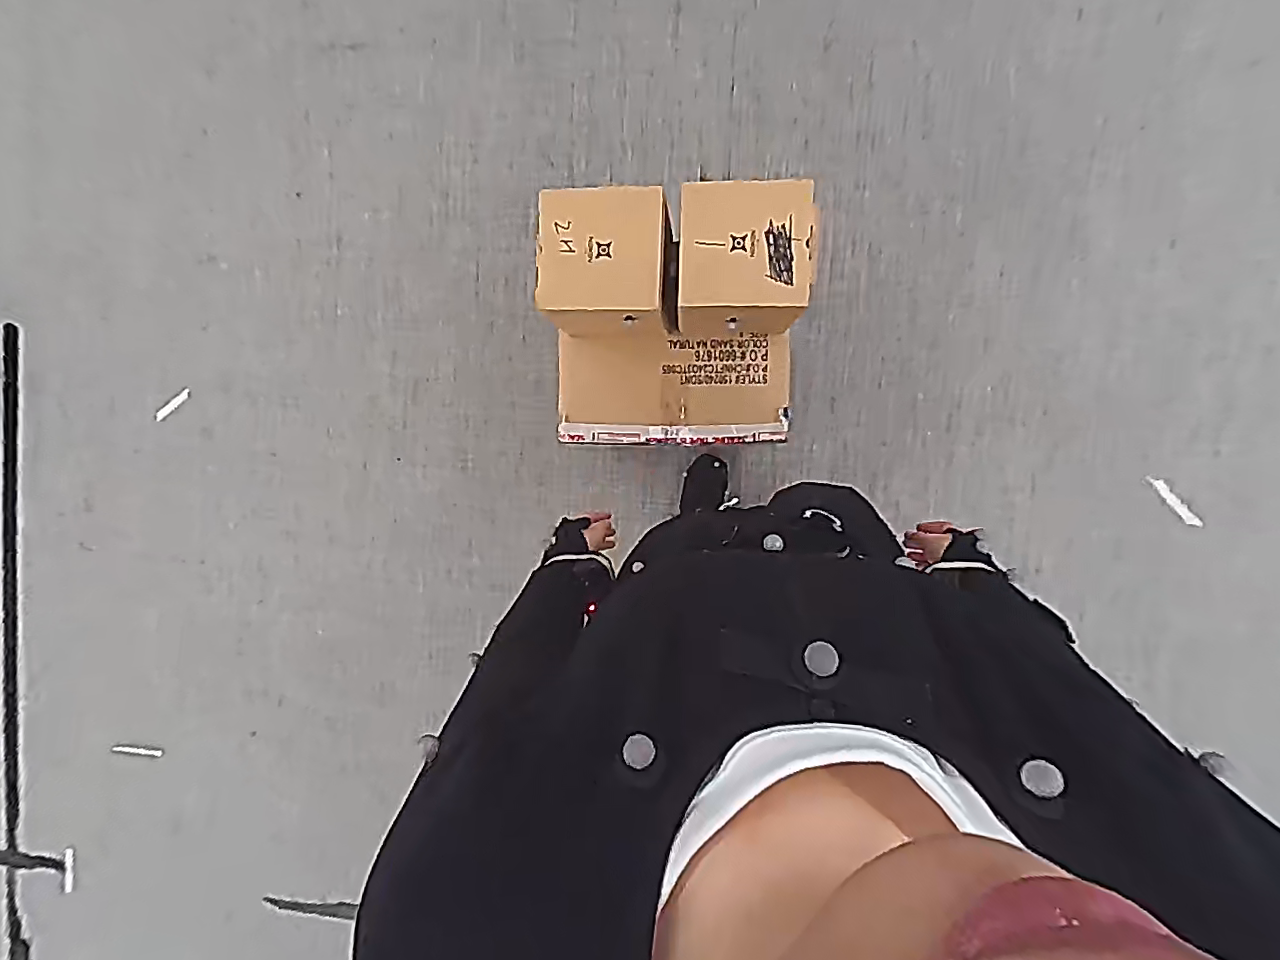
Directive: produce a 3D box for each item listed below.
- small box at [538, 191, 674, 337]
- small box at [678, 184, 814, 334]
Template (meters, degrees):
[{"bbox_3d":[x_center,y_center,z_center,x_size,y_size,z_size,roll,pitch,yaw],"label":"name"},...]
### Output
[{"bbox_3d":[-0.043,-0.318,0.823,0.179,0.176,0.168,3,93,8],"label":"small box"},{"bbox_3d":[0.147,-0.317,0.804,0.179,0.176,0.168,2,94,5],"label":"small box"}]
